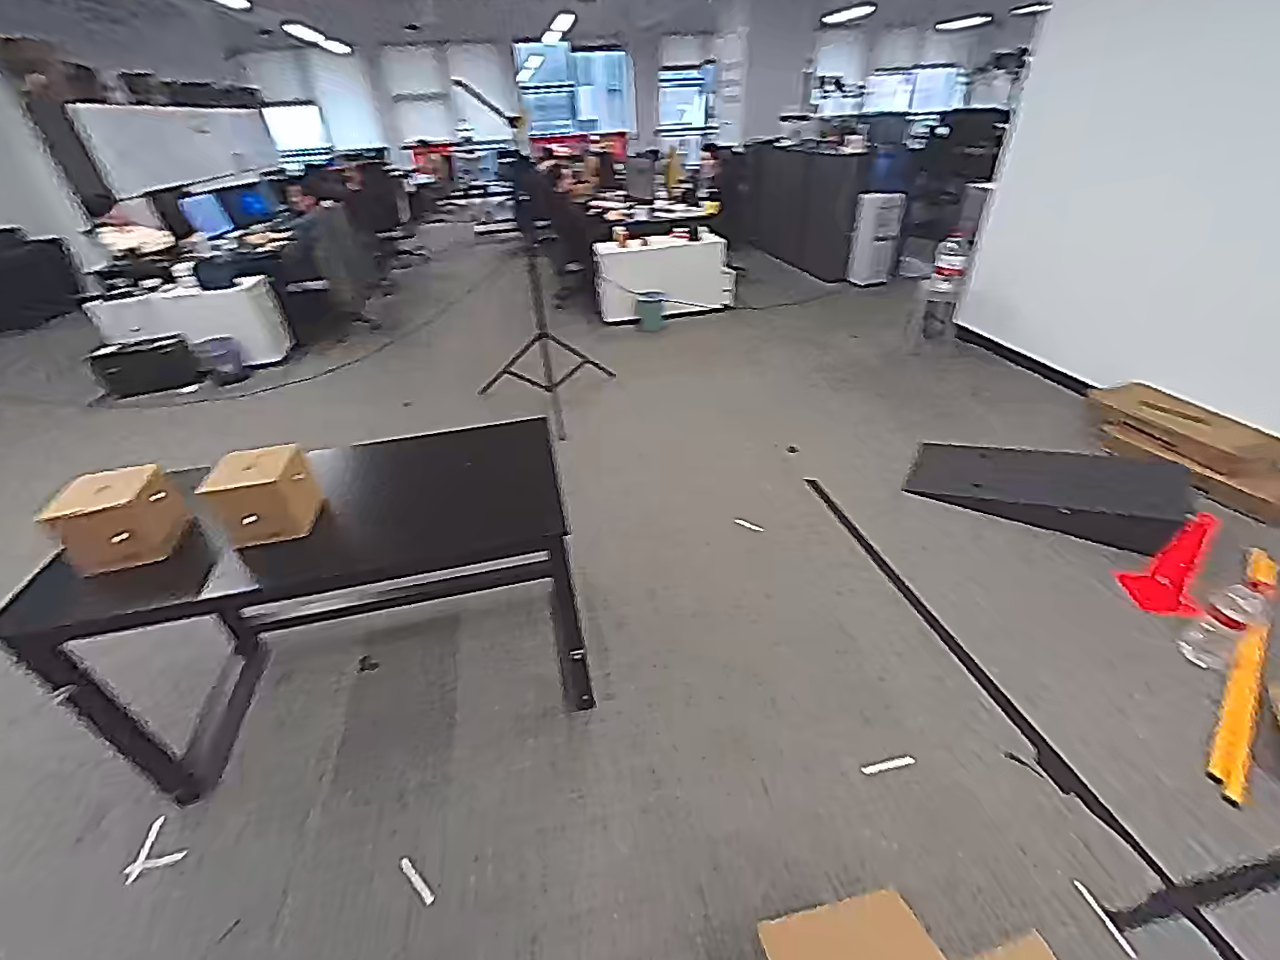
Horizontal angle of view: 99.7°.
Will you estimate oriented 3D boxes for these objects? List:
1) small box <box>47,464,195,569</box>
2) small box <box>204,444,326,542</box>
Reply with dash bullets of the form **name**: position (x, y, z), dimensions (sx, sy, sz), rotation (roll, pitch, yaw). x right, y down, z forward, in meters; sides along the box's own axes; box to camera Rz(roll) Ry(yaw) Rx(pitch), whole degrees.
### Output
- **small box**: position (-1.195, 0.089, 1.266), dimensions (0.168, 0.176, 0.179), rotation (-12, 34, -14)
- **small box**: position (-0.896, 0.036, 1.314), dimensions (0.168, 0.176, 0.179), rotation (-9, 34, -8)
